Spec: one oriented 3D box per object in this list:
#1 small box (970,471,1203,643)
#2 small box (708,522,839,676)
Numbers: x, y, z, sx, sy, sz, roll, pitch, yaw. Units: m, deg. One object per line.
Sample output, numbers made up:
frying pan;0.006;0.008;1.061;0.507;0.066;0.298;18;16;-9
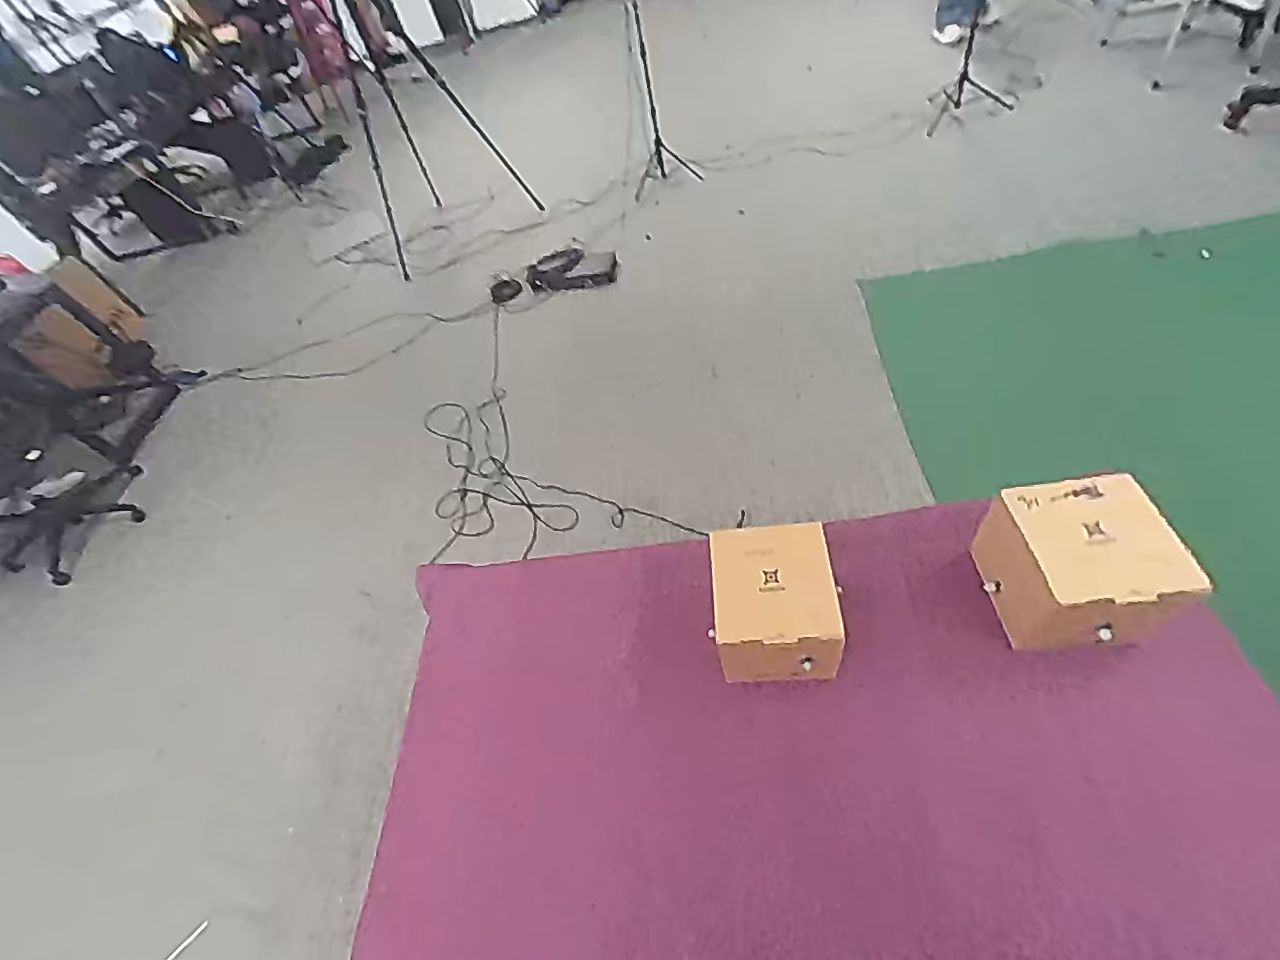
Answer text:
small box;0.593;0.116;0.751;0.168;0.176;0.179;-9;52;9
small box;0.196;0.186;0.811;0.168;0.176;0.179;-6;52;10
